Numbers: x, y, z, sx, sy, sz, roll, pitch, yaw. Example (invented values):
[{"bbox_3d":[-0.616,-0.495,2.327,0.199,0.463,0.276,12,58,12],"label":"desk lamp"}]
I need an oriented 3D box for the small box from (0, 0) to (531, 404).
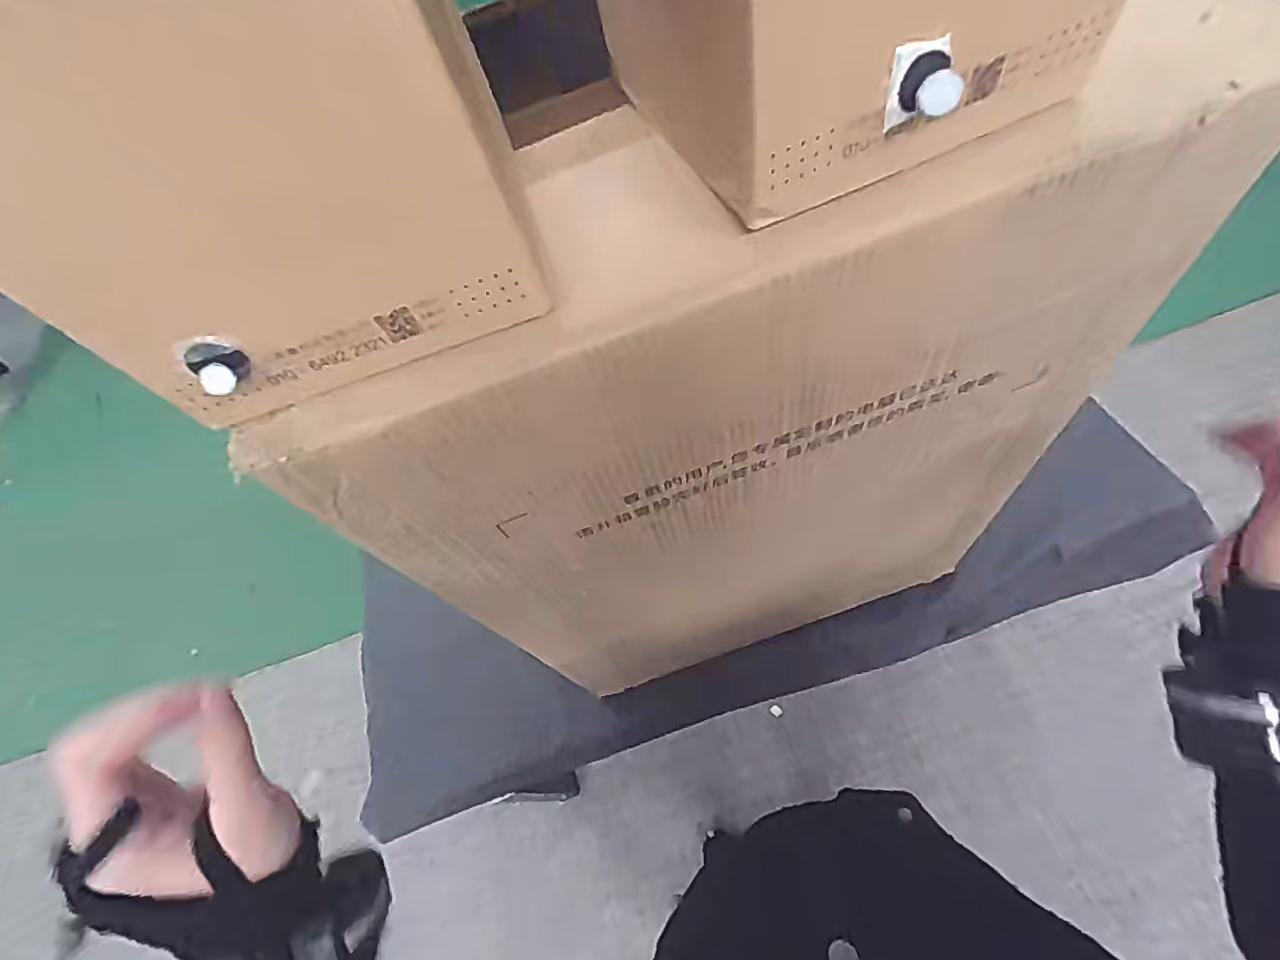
[{"bbox_3d":[-0.156,-0.152,0.220,0.168,0.176,0.179,-18,57,3],"label":"small box"}]
